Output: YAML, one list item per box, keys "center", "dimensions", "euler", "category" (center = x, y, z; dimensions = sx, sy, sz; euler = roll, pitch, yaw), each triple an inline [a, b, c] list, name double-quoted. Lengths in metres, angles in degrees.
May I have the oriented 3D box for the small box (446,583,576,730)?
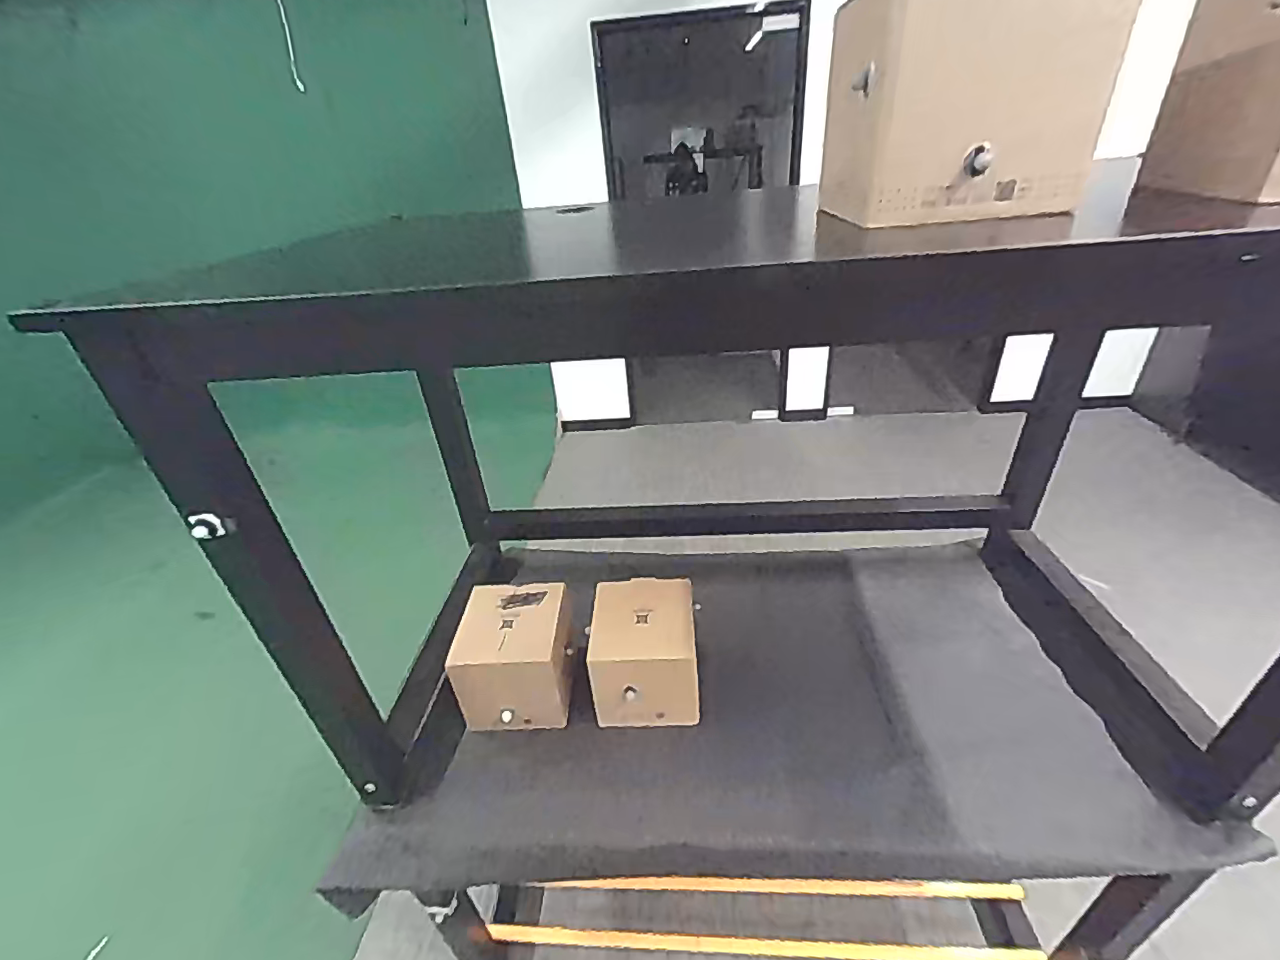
- center: [-0.207, 0.300, 0.927]
  dimensions: [0.168, 0.176, 0.179]
  euler: [-4, 32, 4]
  category: "small box"

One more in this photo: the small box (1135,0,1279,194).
- center: [0.525, -0.311, 0.395]
  dimensions: [0.168, 0.176, 0.179]
  euler: [3, 32, 14]
  category: "small box"
